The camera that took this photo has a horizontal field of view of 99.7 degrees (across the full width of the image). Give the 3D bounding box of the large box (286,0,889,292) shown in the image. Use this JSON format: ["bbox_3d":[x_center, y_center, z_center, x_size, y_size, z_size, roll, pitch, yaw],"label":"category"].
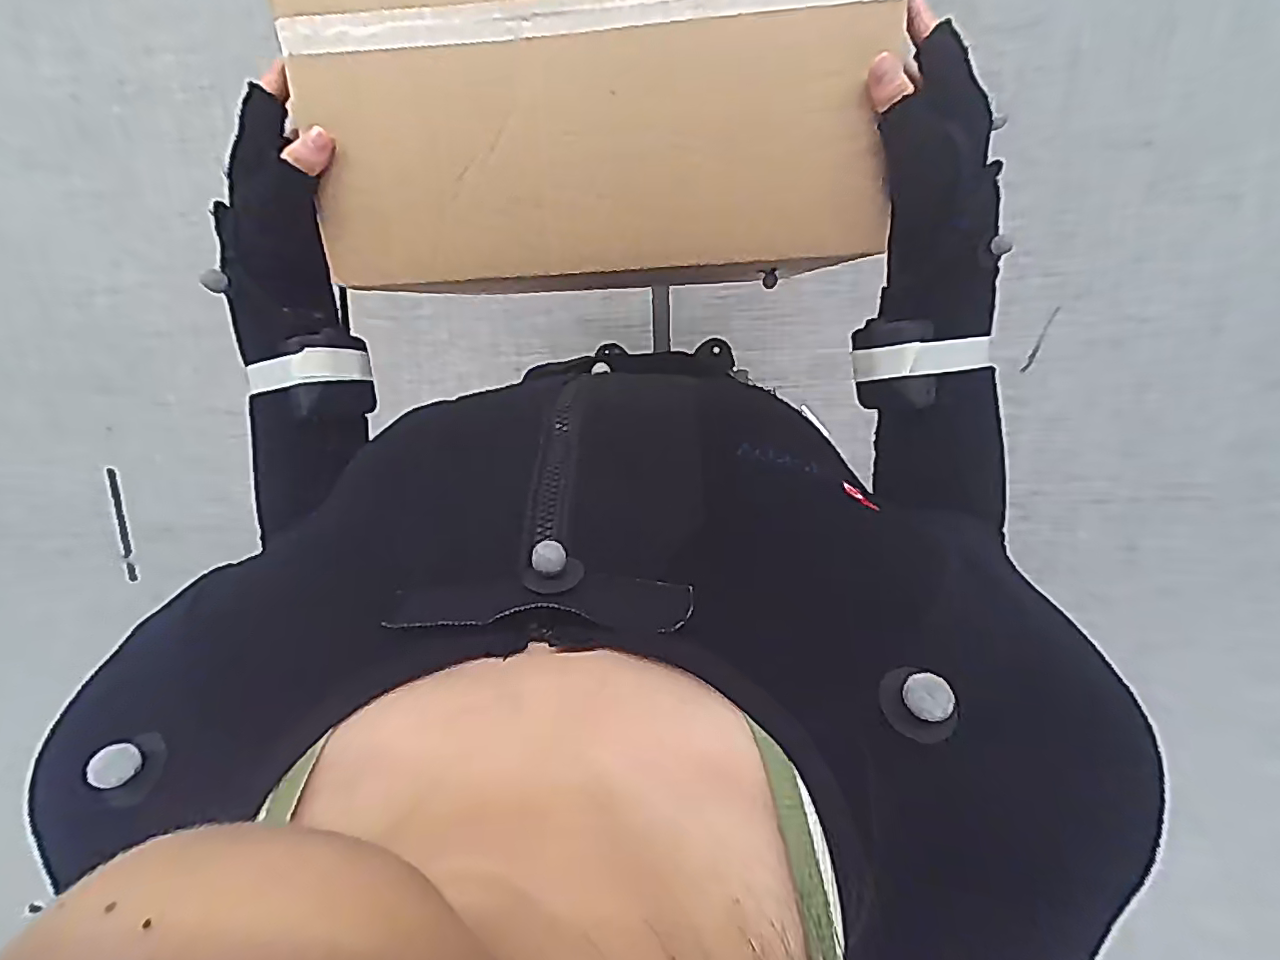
[{"bbox_3d":[-0.030,-0.349,0.498,0.408,0.320,0.320,-3,107,2],"label":"large box"}]

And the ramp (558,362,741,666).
[{"bbox_3d":[0.053,0.155,1.619,0.509,0.206,0.991,-4,102,3],"label":"ramp"}]
